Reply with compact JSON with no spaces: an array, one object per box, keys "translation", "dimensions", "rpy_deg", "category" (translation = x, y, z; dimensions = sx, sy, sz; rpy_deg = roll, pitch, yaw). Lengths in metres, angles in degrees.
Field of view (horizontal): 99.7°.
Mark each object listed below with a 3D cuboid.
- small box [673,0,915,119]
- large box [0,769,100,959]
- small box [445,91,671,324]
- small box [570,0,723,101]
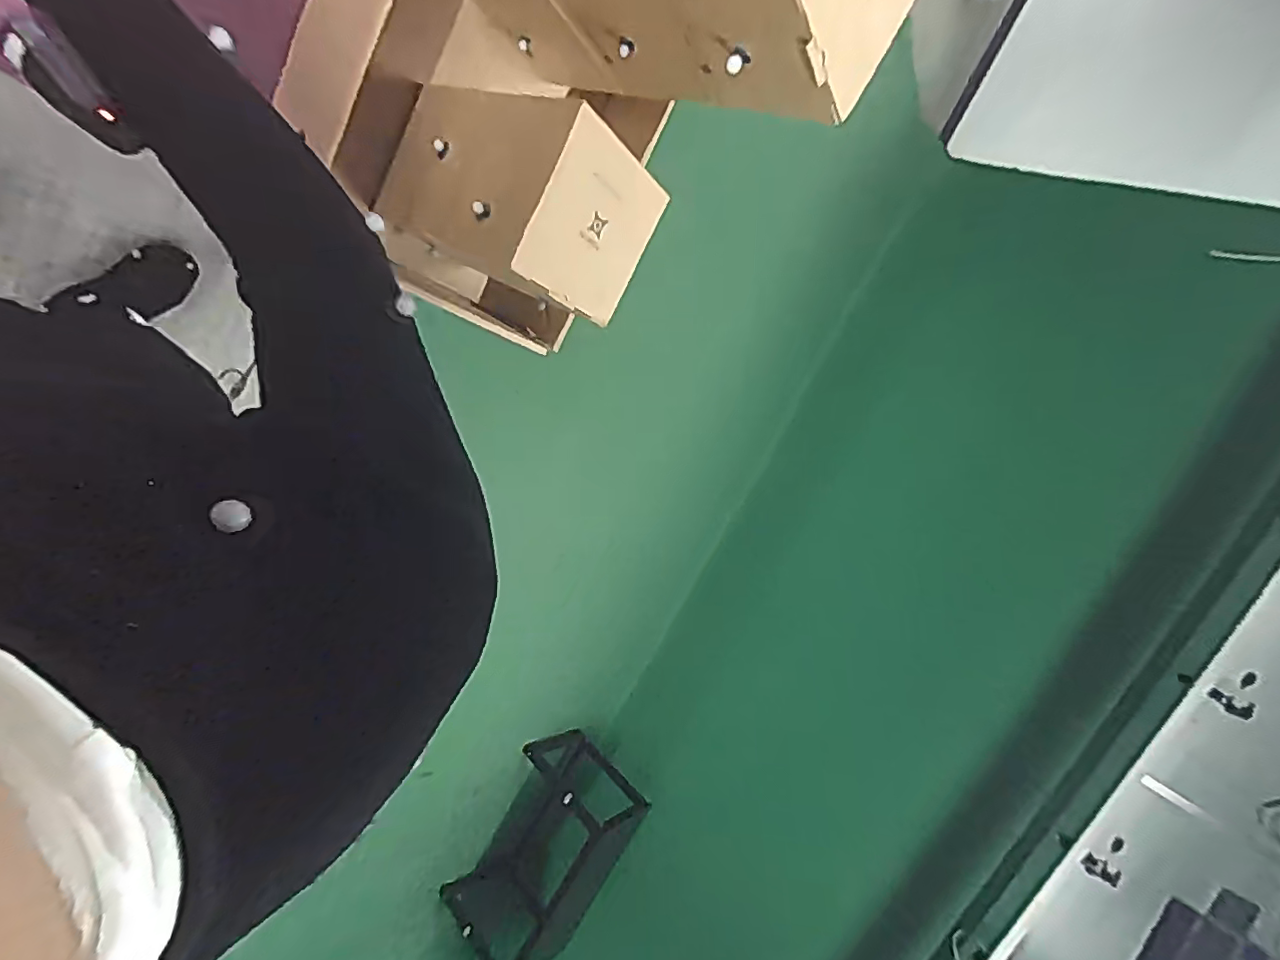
[{"translation":[0.146,-0.488,0.507],"dimensions":[0.168,0.176,0.179],"rpy_deg":[18,105,-56],"category":"small box"},{"translation":[-1.690,1.029,1.329],"dimensions":[0.408,0.320,0.320],"rpy_deg":[-29,139,-39],"category":"large box"},{"translation":[-0.102,-0.317,0.639],"dimensions":[0.168,0.176,0.179],"rpy_deg":[15,104,-55],"category":"small box"},{"translation":[0.035,-0.568,0.598],"dimensions":[0.168,0.176,0.179],"rpy_deg":[17,104,-56],"category":"small box"}]
